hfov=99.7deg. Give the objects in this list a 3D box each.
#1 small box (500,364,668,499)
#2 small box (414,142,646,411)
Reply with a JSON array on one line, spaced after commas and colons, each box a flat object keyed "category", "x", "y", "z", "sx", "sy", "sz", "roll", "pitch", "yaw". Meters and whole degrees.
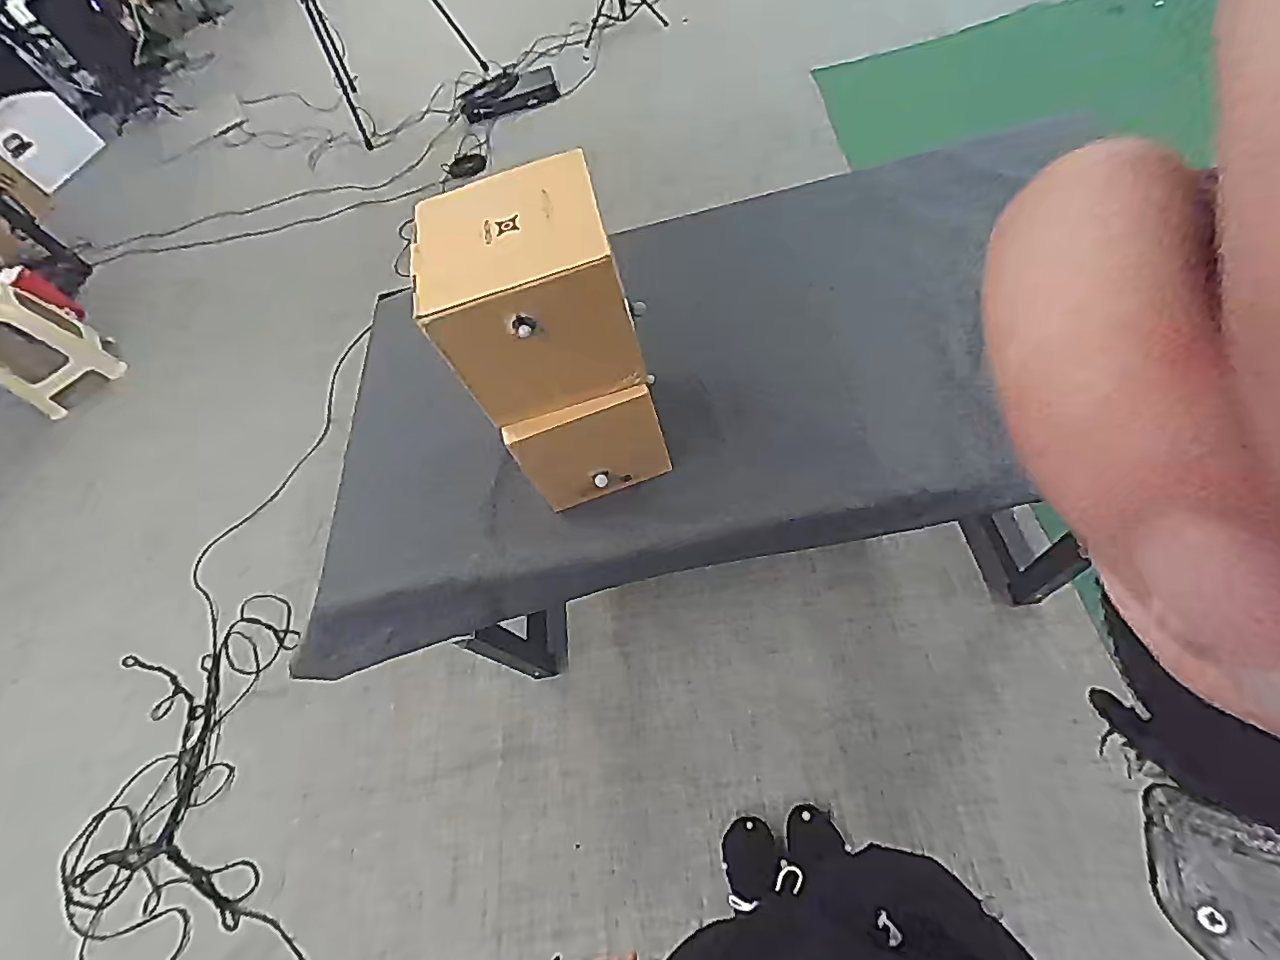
[{"category": "small box", "x": -0.074, "y": -0.104, "z": 0.684, "sx": 0.168, "sy": 0.176, "sz": 0.179, "roll": -20, "pitch": 60, "yaw": 2}, {"category": "small box", "x": -0.105, "y": -0.194, "z": 0.552, "sx": 0.179, "sy": 0.176, "sz": 0.168, "roll": -16, "pitch": 61, "yaw": 3}]
